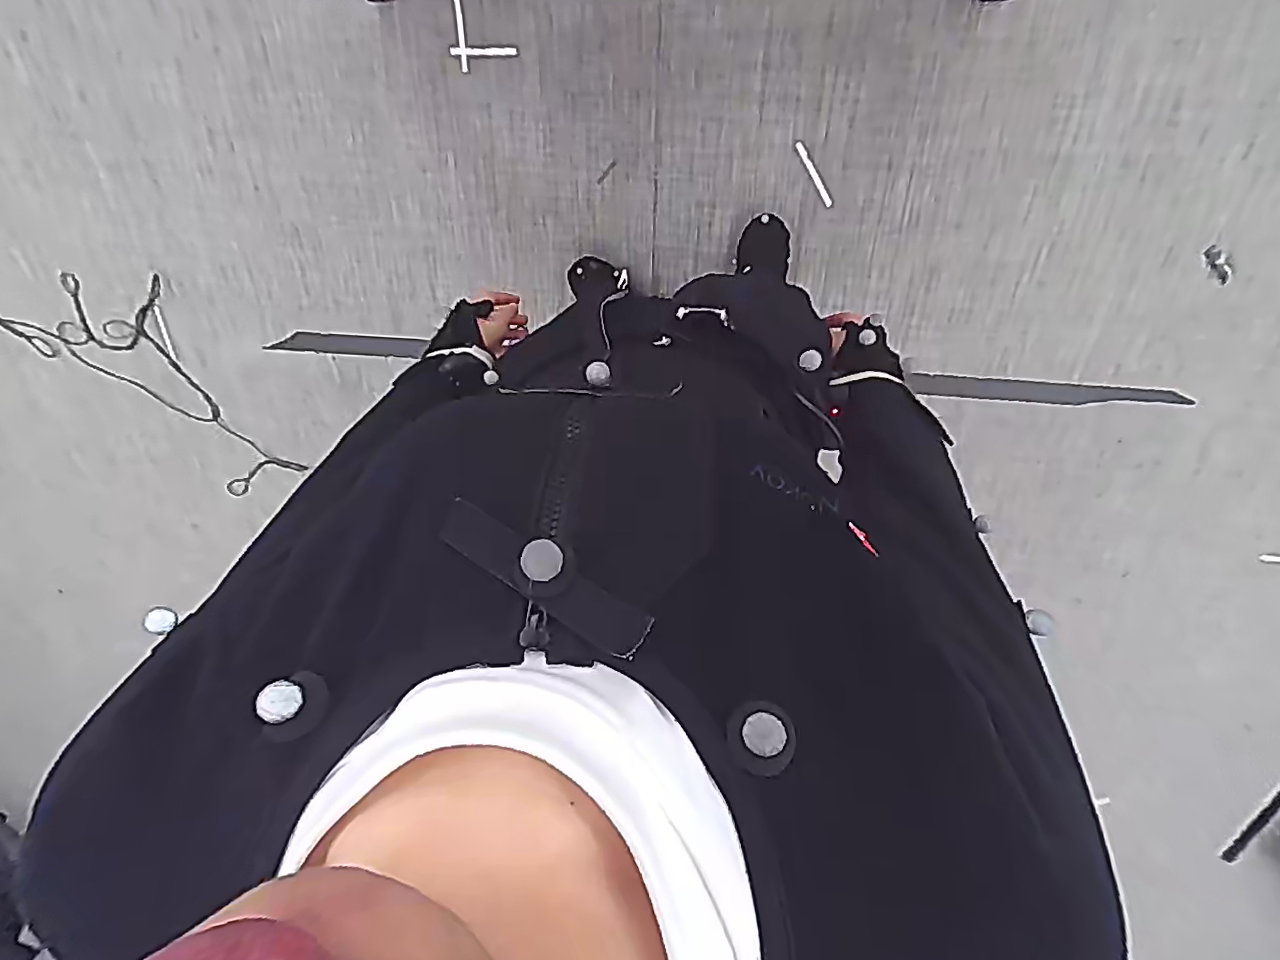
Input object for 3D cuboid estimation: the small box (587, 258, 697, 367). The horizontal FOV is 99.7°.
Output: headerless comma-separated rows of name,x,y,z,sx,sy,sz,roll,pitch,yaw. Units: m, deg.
small box,0.006,-0.359,1.162,0.179,0.176,0.168,-37,105,16
